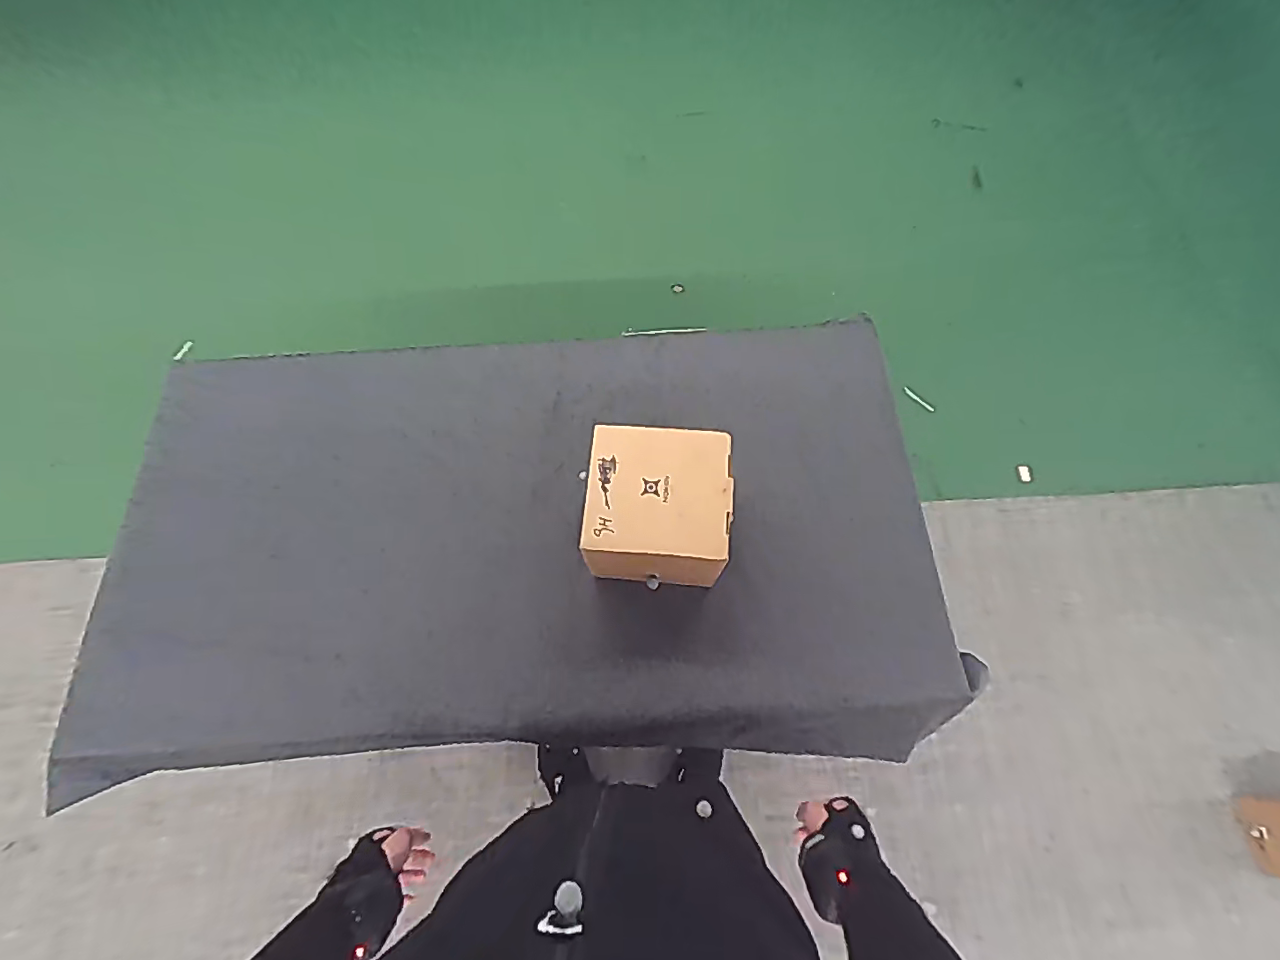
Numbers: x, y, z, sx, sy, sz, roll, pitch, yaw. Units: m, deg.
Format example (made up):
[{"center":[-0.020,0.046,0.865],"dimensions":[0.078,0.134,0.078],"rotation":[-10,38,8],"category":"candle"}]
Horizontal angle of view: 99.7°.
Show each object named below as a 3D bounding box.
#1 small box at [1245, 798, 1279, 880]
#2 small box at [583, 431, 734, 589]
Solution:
[{"center":[1.524,0.803,1.185],"dimensions":[0.179,0.176,0.168],"rotation":[-2,66,0],"category":"small box"},{"center":[0.025,0.049,0.735],"dimensions":[0.179,0.176,0.168],"rotation":[4,69,2],"category":"small box"}]
